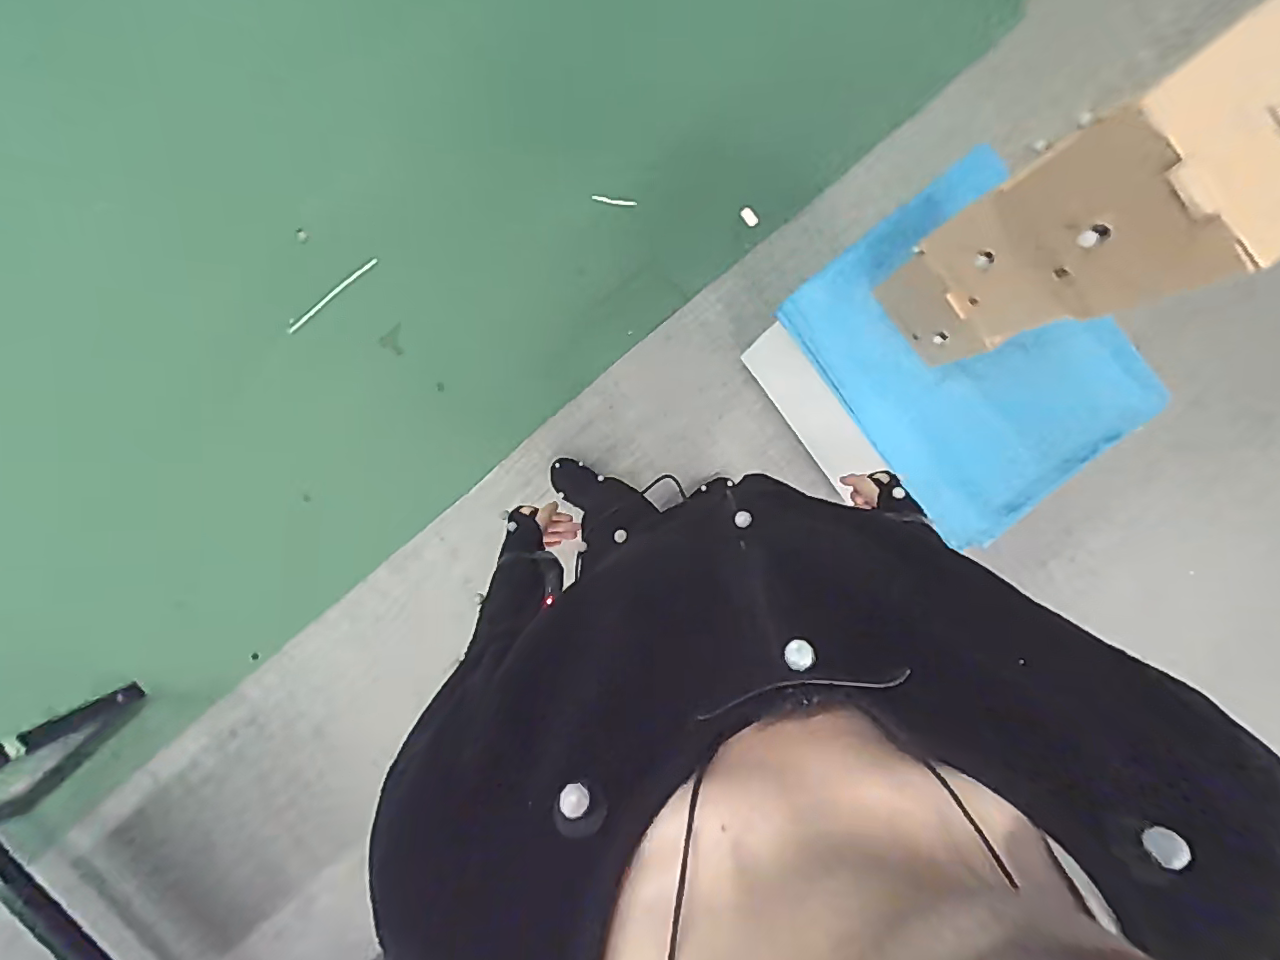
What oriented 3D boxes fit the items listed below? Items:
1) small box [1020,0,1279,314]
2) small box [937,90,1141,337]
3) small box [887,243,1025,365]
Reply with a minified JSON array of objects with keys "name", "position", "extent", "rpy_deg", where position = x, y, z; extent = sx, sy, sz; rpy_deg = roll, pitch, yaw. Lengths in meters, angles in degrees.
[{"name":"small box","position":[0.491,-0.276,0.484],"extent":[0.179,0.176,0.168],"rpy_deg":[-36,93,1]},{"name":"small box","position":[0.496,-0.296,0.647],"extent":[0.179,0.176,0.168],"rpy_deg":[-36,93,1]},{"name":"small box","position":[0.503,-0.294,0.809],"extent":[0.179,0.176,0.168],"rpy_deg":[-37,93,1]}]
